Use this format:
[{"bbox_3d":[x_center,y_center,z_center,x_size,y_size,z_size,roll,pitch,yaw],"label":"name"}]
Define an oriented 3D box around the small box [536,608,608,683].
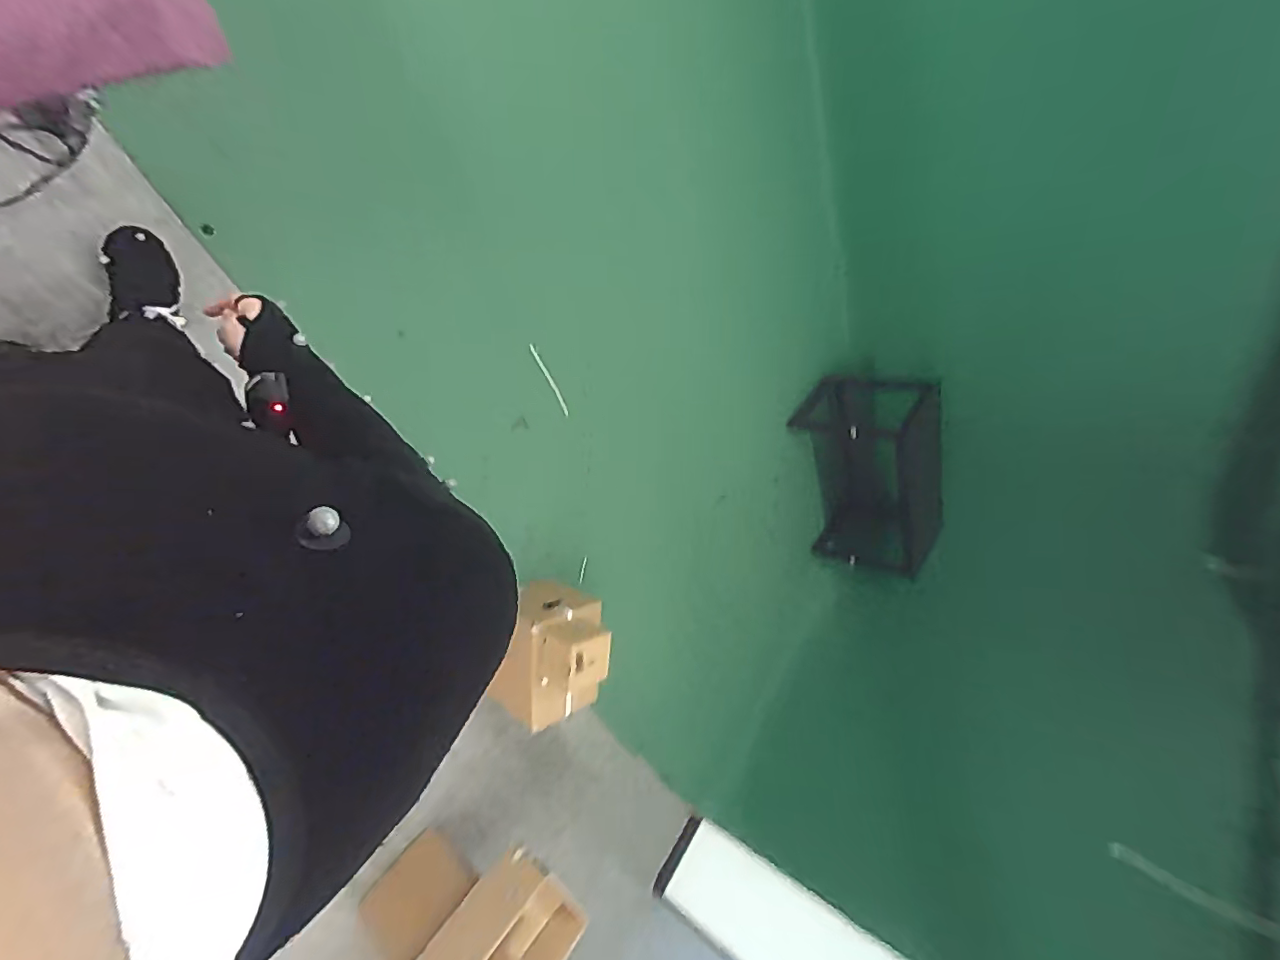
[{"bbox_3d":[-0.231,0.550,1.818,0.179,0.176,0.168,-6,106,-48],"label":"small box"}]
